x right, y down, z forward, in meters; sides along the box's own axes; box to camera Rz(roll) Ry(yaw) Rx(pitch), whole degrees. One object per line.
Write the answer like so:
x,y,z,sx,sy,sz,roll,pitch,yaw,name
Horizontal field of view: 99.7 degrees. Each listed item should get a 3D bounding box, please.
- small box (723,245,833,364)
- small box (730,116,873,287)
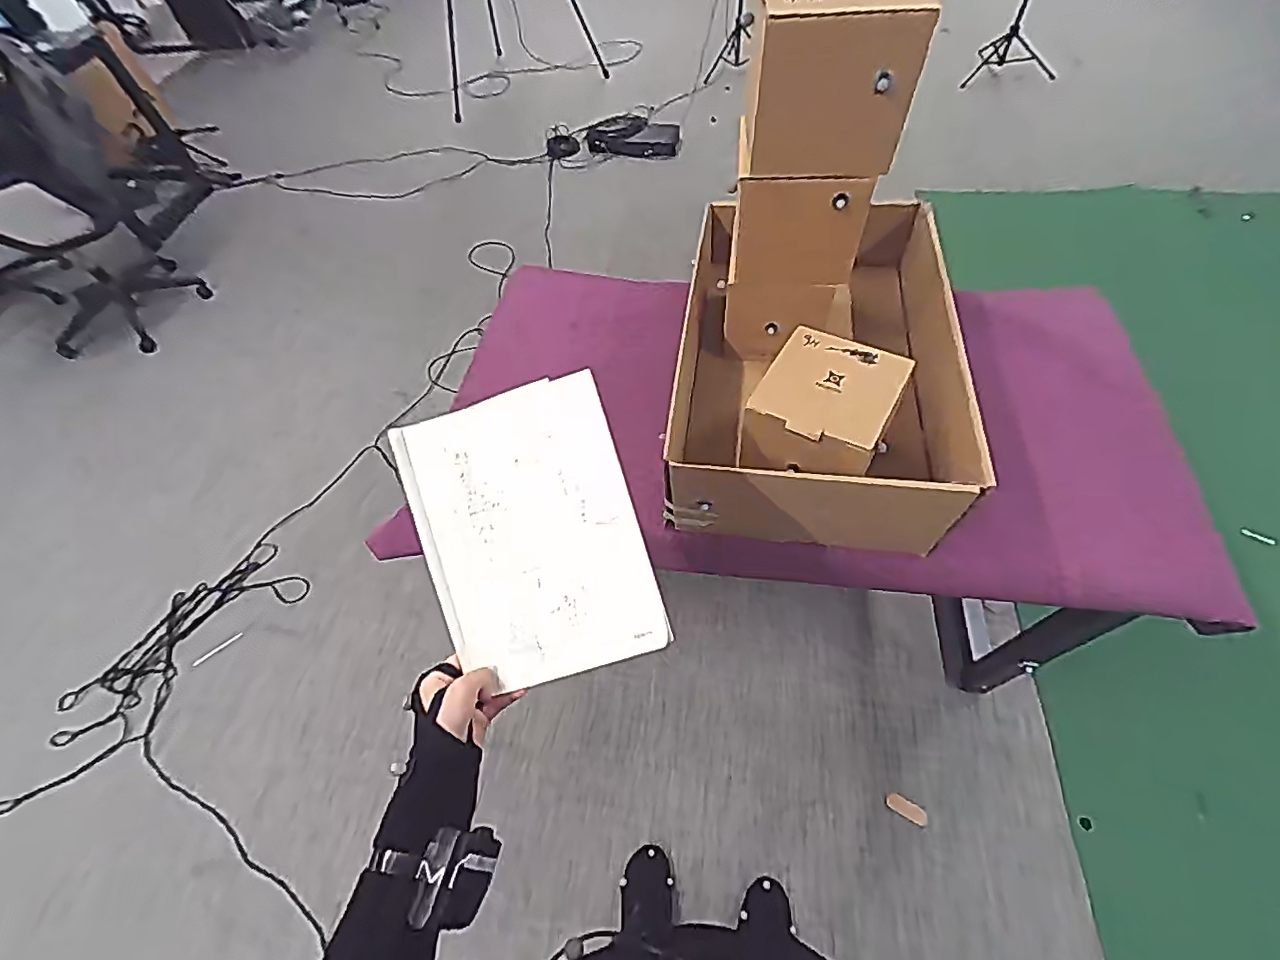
0.234,-0.321,0.938,0.168,0.176,0.179,5,59,9,small box
0.226,-0.405,0.800,0.179,0.176,0.168,3,58,8,small box
